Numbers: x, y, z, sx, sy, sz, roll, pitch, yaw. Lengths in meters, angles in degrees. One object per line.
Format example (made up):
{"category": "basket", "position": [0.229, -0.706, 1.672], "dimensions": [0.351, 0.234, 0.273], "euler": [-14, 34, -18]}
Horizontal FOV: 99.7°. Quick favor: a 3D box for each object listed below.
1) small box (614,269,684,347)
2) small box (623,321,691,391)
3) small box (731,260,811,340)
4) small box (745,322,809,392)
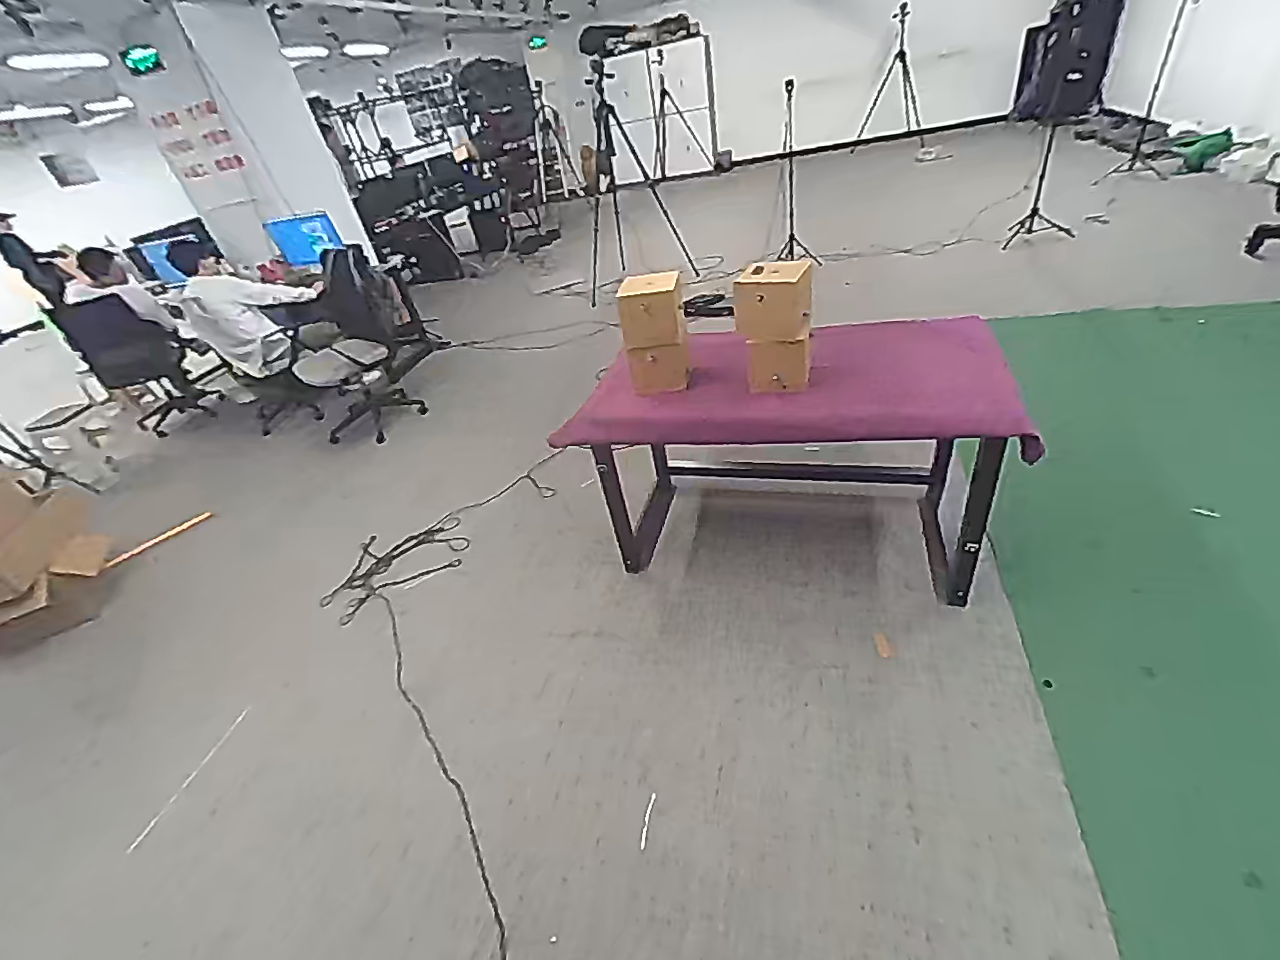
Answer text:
{"category": "small box", "position": [0.035, -0.521, 1.649], "dimensions": [0.179, 0.176, 0.168], "euler": [-3, 39, 14]}
{"category": "small box", "position": [0.060, -0.397, 1.749], "dimensions": [0.179, 0.176, 0.168], "euler": [-1, 39, 15]}
{"category": "small box", "position": [0.373, -0.506, 1.521], "dimensions": [0.179, 0.176, 0.168], "euler": [11, 42, 28]}
{"category": "small box", "position": [0.413, -0.377, 1.616], "dimensions": [0.168, 0.176, 0.179], "euler": [3, 39, 21]}
